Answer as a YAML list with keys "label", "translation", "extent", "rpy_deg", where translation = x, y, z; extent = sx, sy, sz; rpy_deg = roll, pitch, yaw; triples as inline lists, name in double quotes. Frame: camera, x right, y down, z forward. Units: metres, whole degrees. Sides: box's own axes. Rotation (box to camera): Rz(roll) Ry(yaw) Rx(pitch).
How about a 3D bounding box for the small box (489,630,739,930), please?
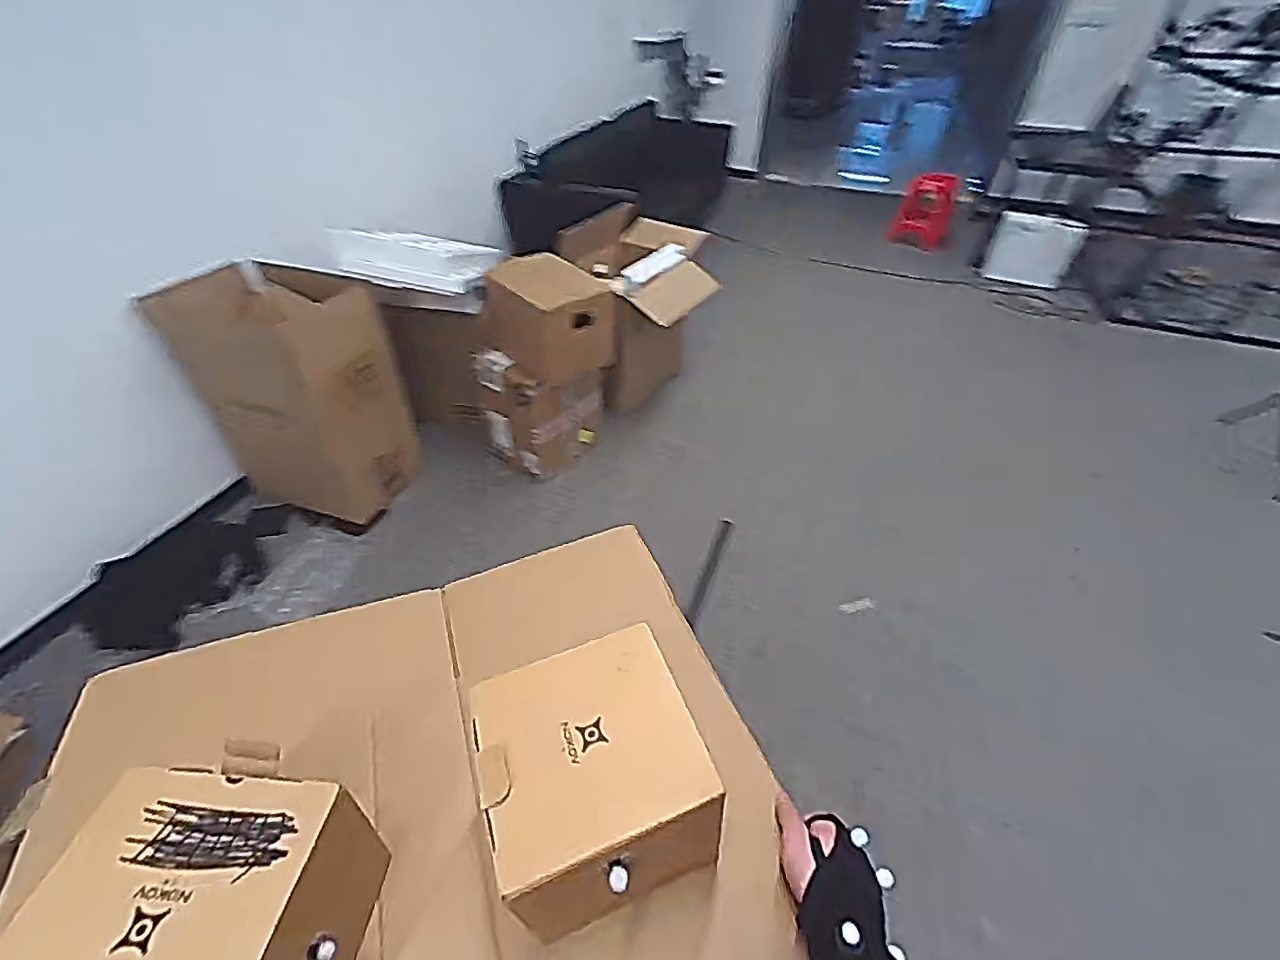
- label: "small box"
  translation: [-0.026, 0.279, 0.510]
  extent: [0.179, 0.176, 0.168]
  rpy_deg: [-18, 43, -13]
